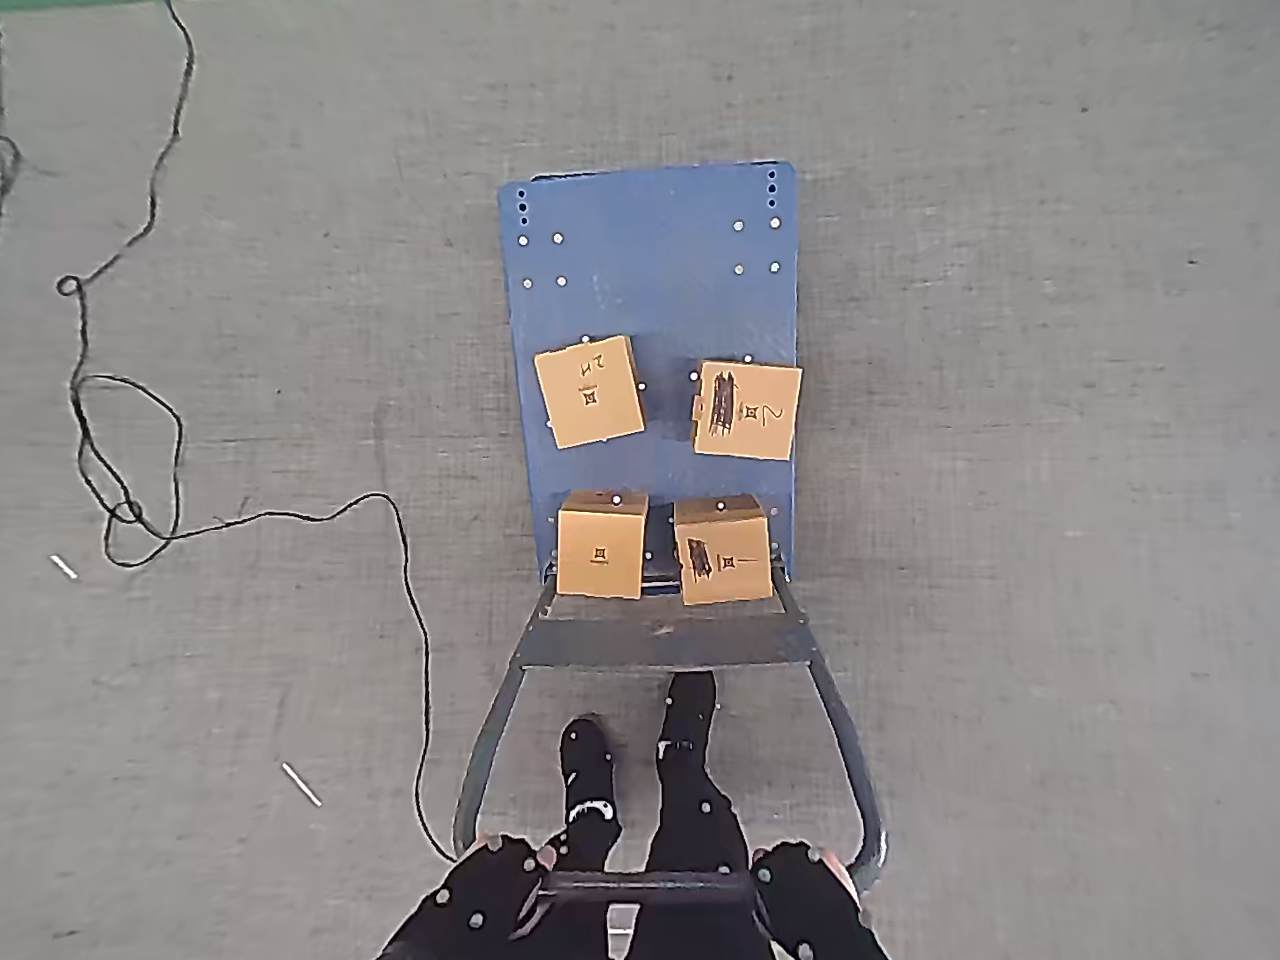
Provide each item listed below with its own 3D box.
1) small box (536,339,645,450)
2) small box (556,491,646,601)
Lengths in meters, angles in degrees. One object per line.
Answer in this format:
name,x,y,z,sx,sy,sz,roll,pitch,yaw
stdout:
small box,-0.085,-0.170,1.042,0.168,0.176,0.179,-11,103,4
small box,-0.075,0.128,1.114,0.168,0.176,0.179,4,105,1
